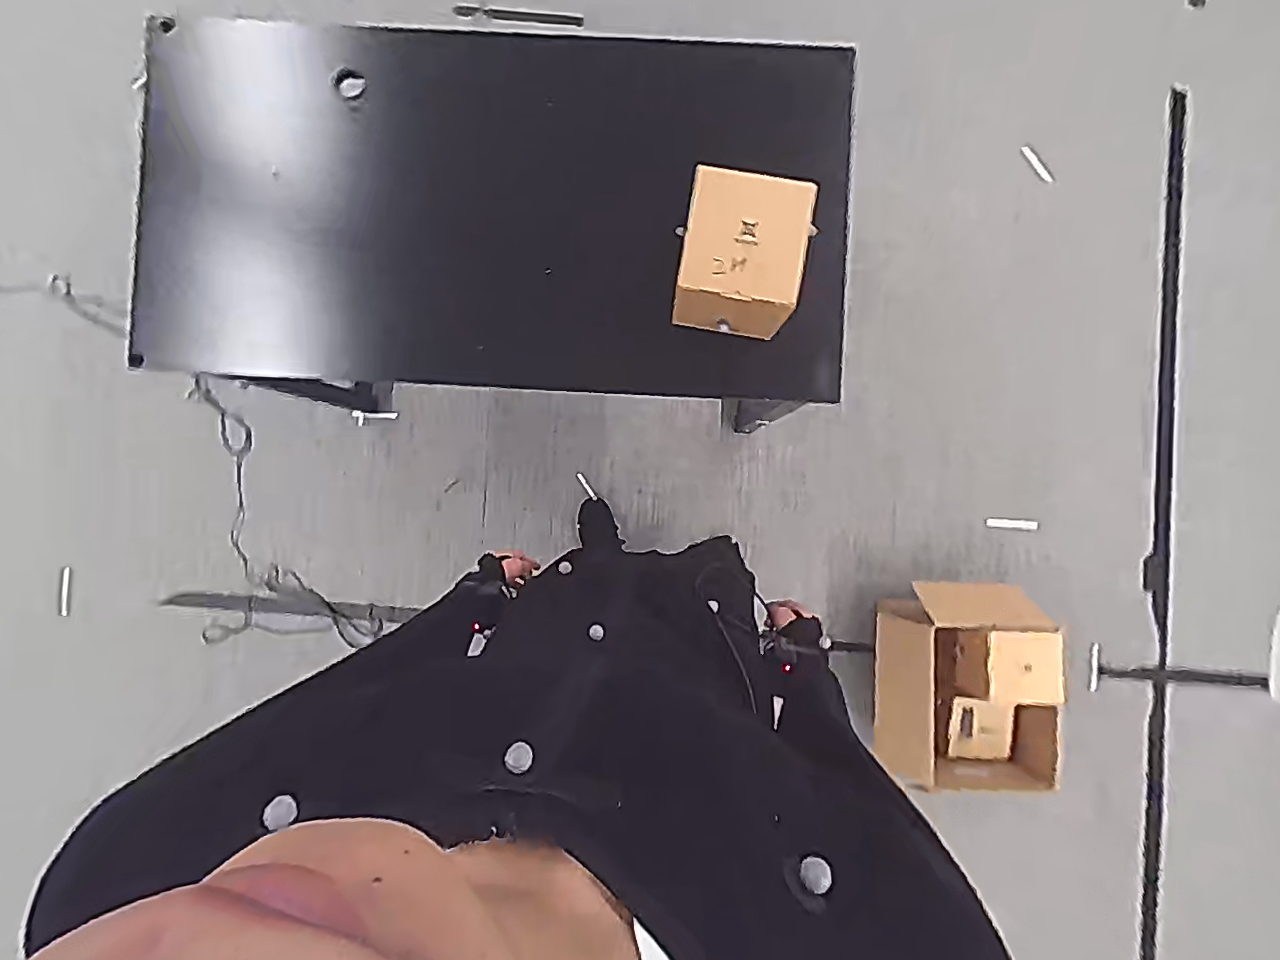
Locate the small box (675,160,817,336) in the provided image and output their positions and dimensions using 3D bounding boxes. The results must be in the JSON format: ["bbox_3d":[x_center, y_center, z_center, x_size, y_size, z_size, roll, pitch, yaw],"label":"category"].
[{"bbox_3d":[0.148,-0.337,0.815,0.168,0.176,0.179,10,90,2],"label":"small box"}]
